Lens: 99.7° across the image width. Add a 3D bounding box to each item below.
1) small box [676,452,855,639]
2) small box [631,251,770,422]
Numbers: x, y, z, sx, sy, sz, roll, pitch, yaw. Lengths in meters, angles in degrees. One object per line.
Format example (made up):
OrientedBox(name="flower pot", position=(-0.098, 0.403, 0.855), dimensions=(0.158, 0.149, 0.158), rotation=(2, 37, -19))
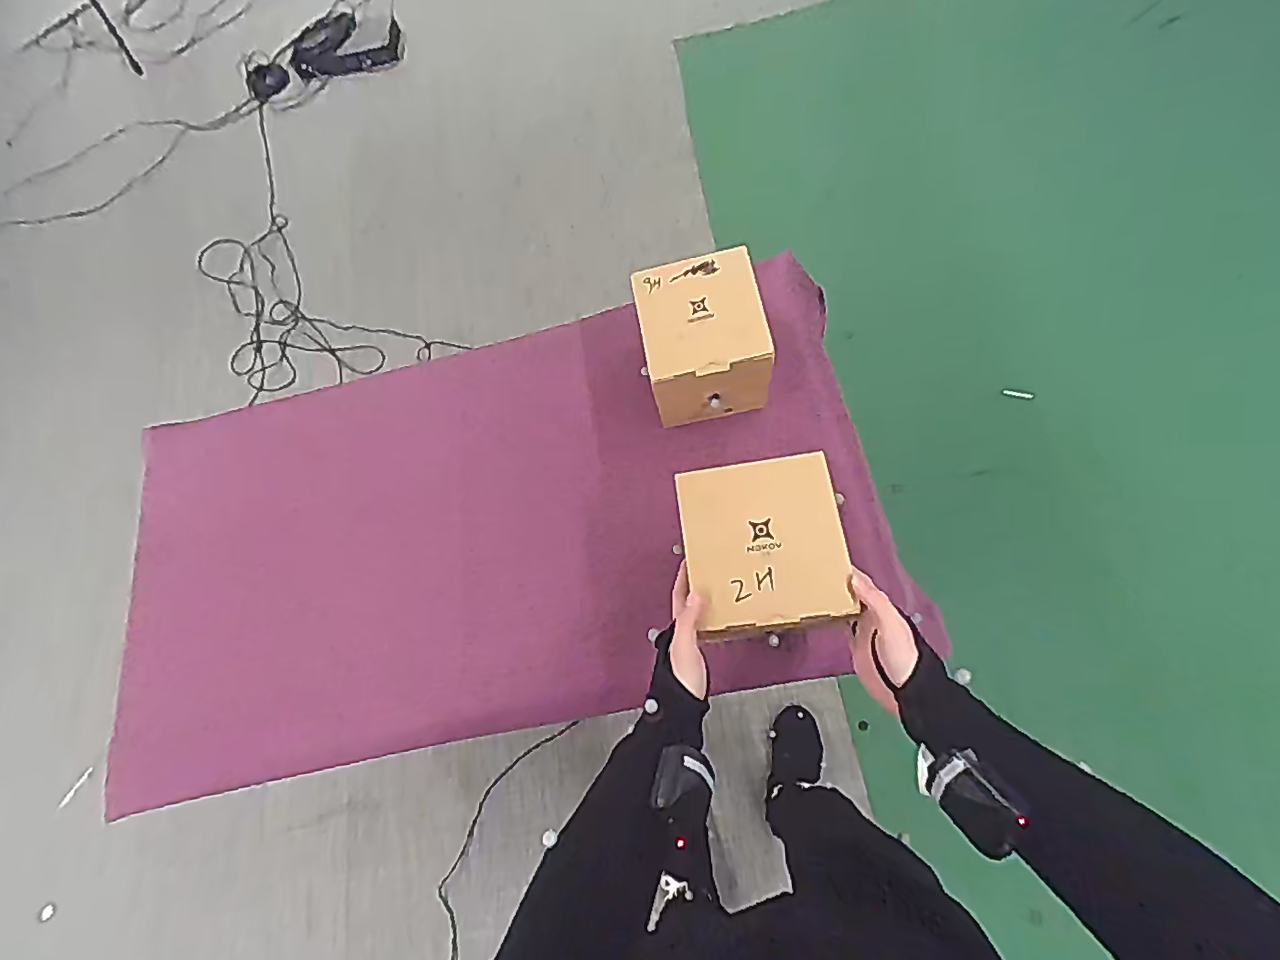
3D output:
OrientedBox(name="small box", position=(0.138, 0.087, 0.644), dimensions=(0.168, 0.176, 0.179), rotation=(-9, 69, 7))
OrientedBox(name="small box", position=(0.092, -0.198, 0.804), dimensions=(0.168, 0.176, 0.179), rotation=(-11, 73, 6))
